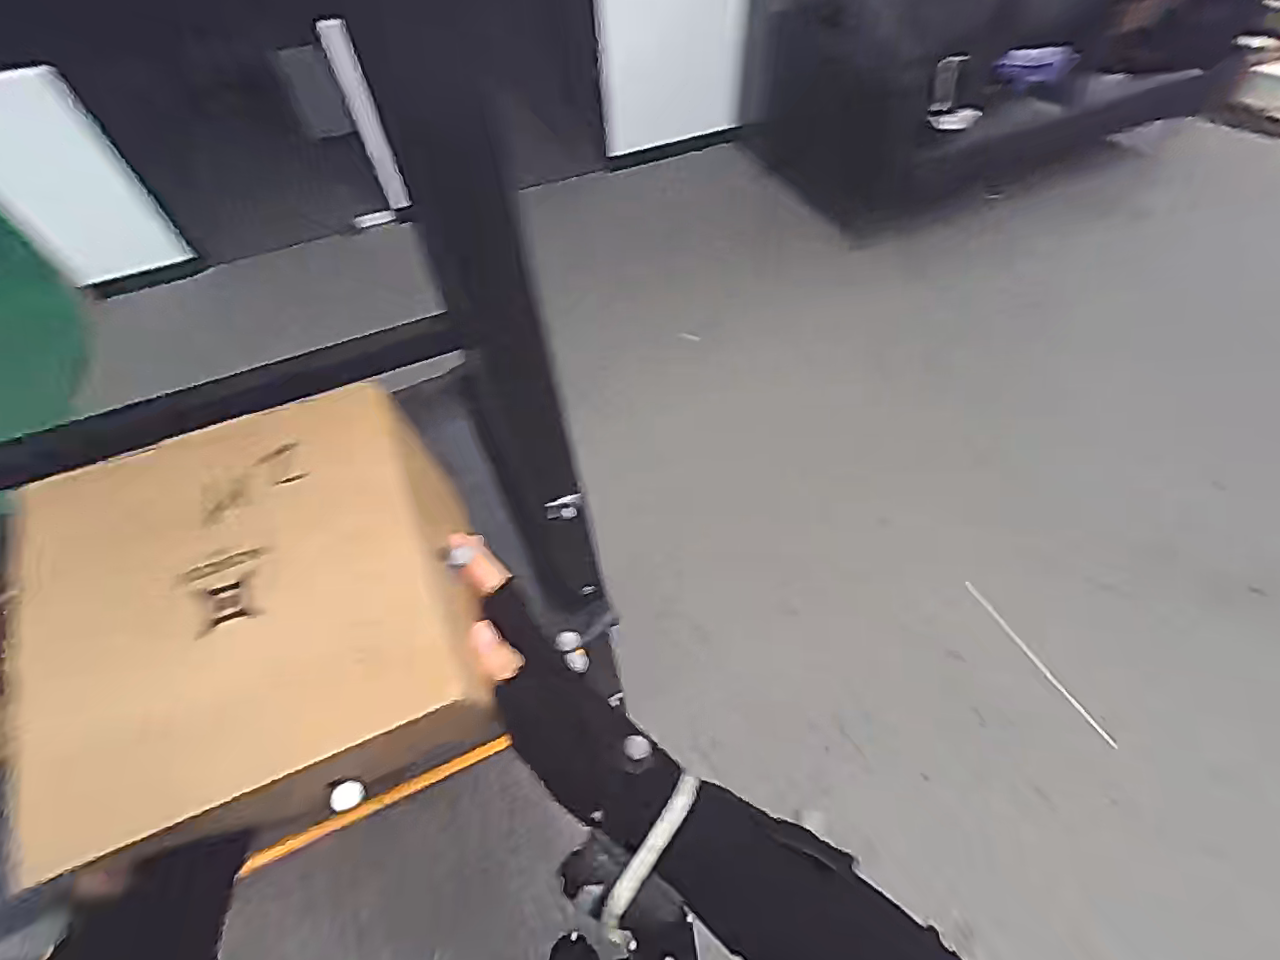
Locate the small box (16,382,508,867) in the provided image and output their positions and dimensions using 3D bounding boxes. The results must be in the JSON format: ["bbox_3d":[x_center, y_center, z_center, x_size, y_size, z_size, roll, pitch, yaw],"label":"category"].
[{"bbox_3d":[-0.190,0.078,0.319,0.168,0.176,0.179,-20,68,-11],"label":"small box"}]
